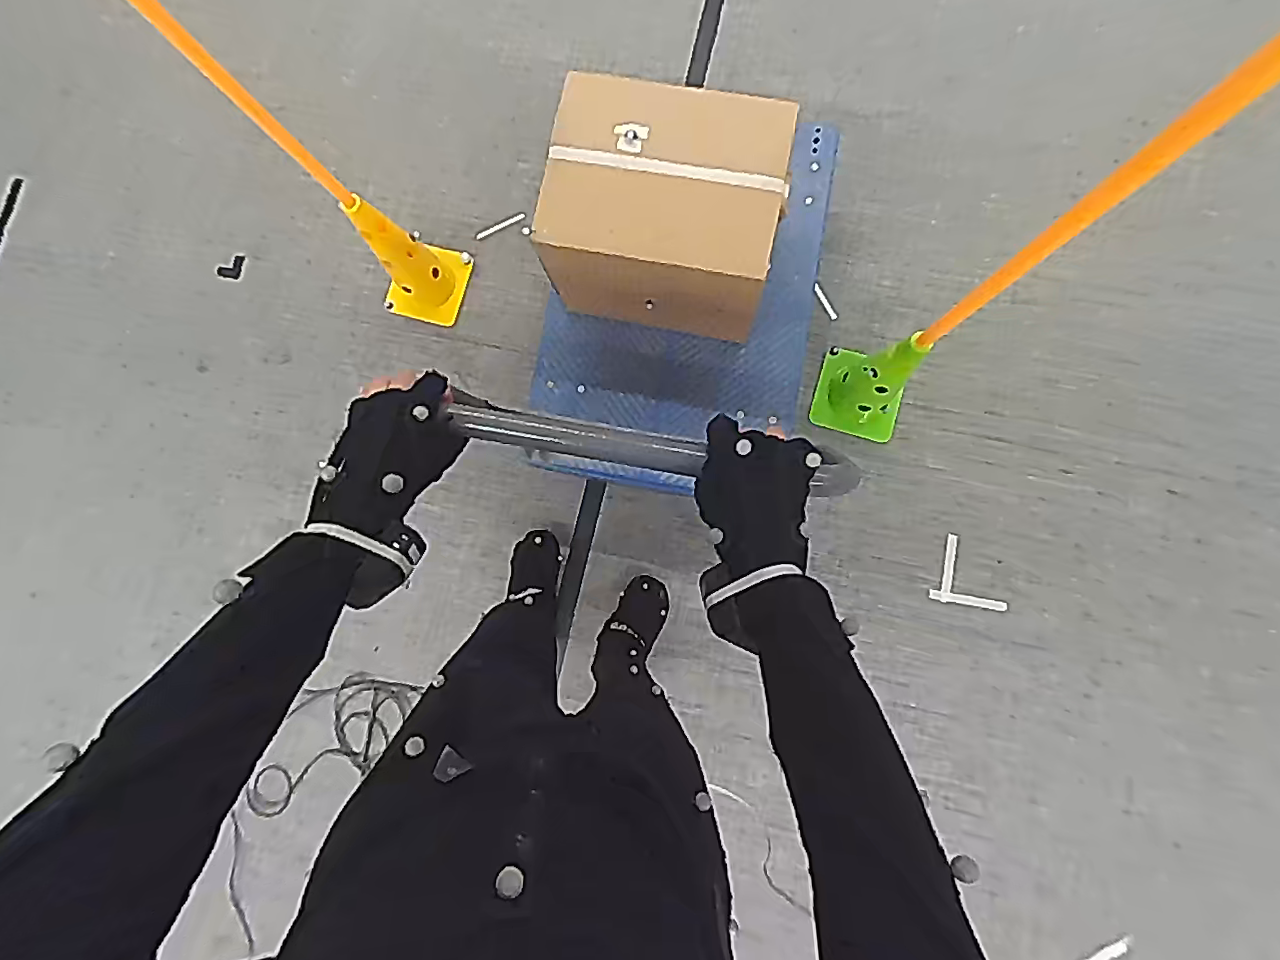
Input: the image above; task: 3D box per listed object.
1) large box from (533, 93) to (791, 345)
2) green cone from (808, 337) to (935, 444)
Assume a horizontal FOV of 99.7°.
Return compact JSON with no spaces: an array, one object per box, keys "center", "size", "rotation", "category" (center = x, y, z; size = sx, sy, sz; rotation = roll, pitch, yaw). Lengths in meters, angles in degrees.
[{"center":[0.051,-0.488,1.073],"size":[0.408,0.320,0.320],"rotation":[12,86,6],"category":"large box"},{"center":[0.518,-0.221,1.153],"size":[0.202,0.368,0.200],"rotation":[16,86,5],"category":"green cone"}]
